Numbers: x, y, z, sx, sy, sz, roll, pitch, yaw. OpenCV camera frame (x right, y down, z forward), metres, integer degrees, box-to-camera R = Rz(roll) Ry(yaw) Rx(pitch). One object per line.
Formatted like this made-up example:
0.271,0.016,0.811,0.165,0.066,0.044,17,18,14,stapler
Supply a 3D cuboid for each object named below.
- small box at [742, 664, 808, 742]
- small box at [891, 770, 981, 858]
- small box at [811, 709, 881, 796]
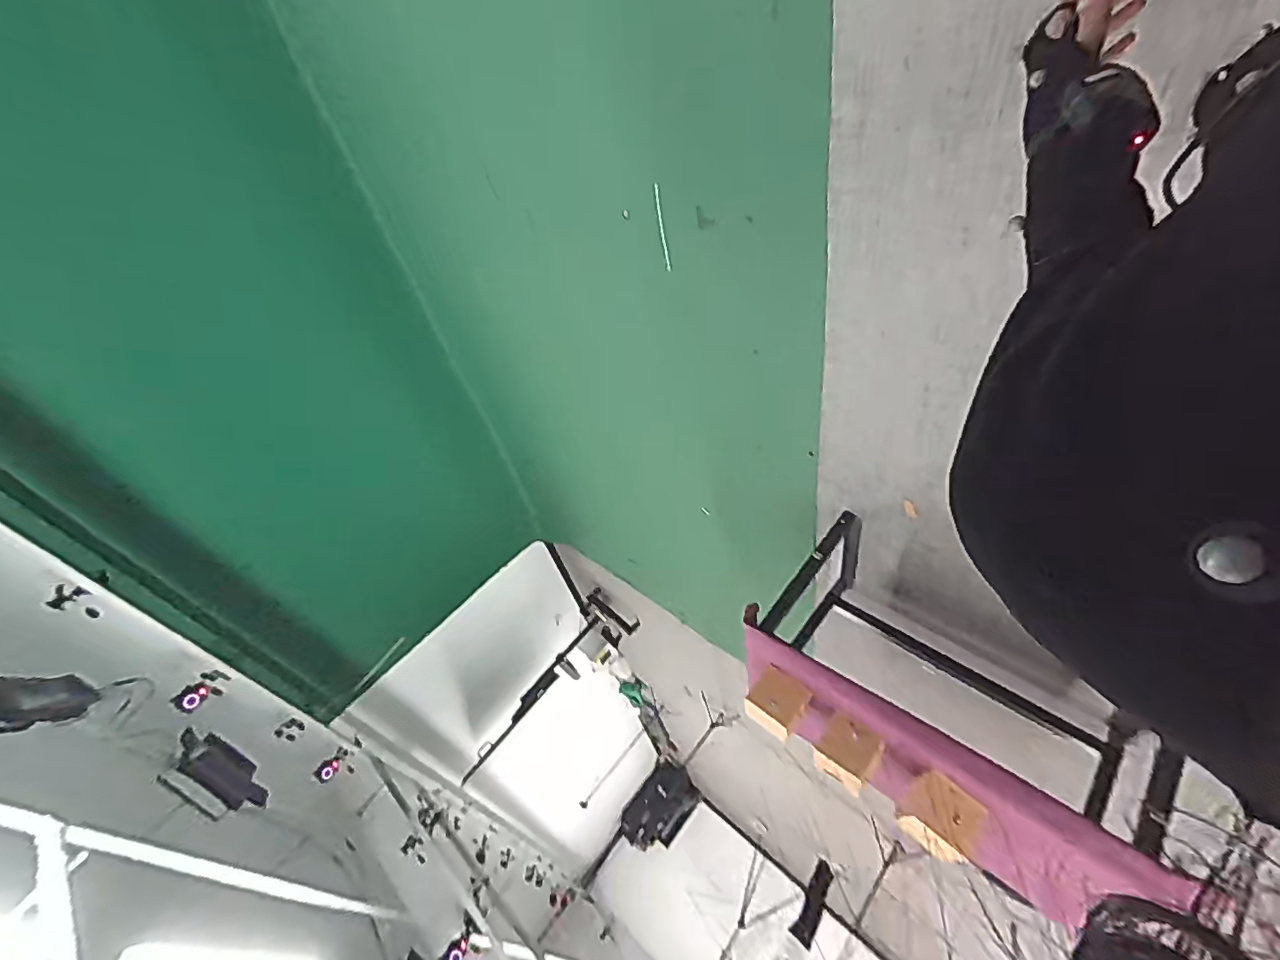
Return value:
0.493,0.808,1.969,0.179,0.176,0.168,29,150,31,small box
0.910,1.021,1.659,0.168,0.176,0.179,34,152,23,small box
0.696,0.918,1.827,0.168,0.176,0.179,24,146,37,small box
